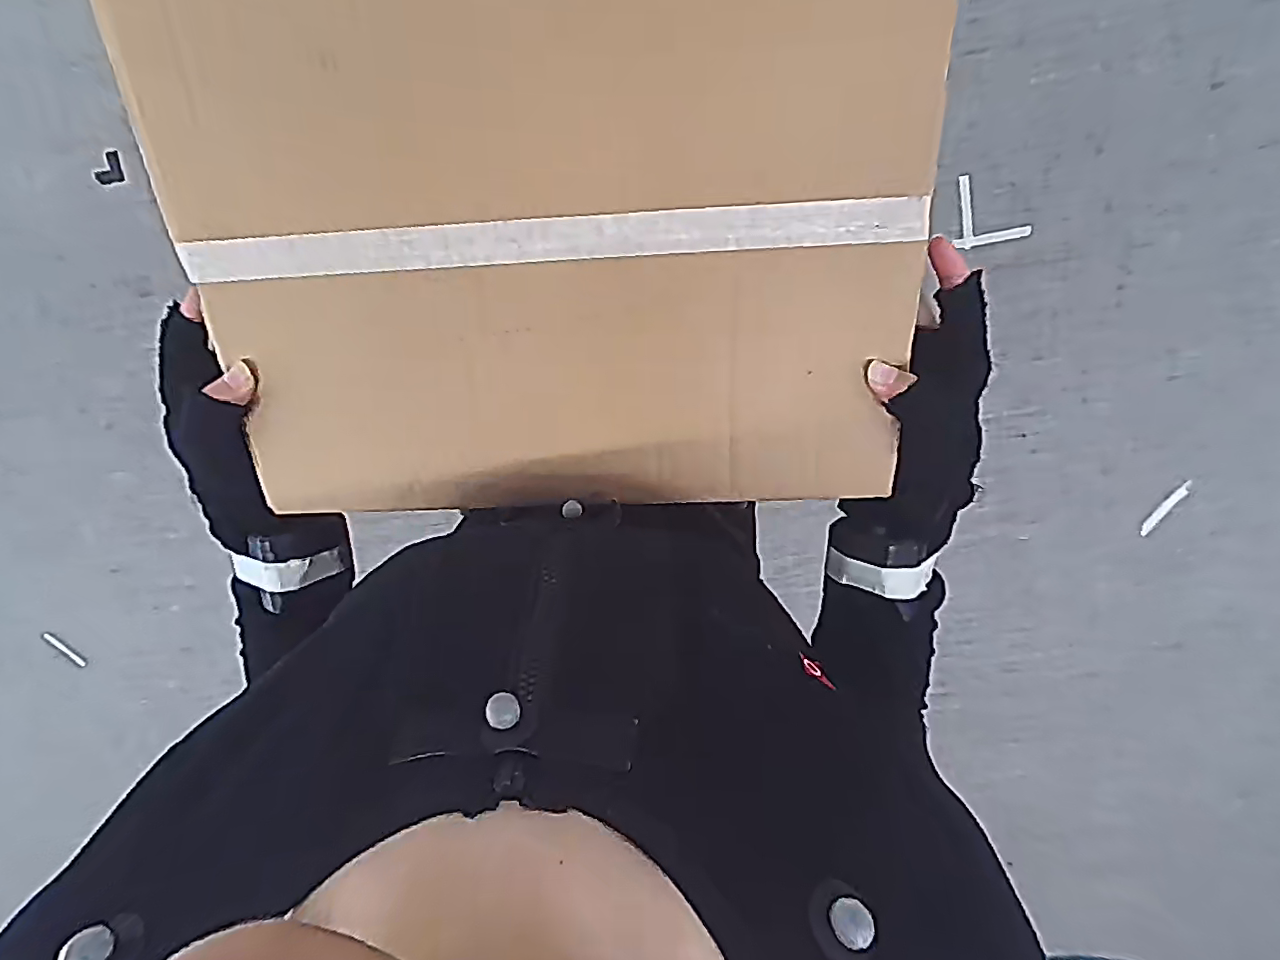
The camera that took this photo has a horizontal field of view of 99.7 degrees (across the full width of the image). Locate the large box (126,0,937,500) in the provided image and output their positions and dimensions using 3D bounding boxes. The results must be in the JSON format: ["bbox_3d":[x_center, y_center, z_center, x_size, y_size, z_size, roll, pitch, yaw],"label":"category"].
[{"bbox_3d":[-0.047,-0.192,0.439,0.408,0.320,0.320,-2,113,3],"label":"large box"}]
